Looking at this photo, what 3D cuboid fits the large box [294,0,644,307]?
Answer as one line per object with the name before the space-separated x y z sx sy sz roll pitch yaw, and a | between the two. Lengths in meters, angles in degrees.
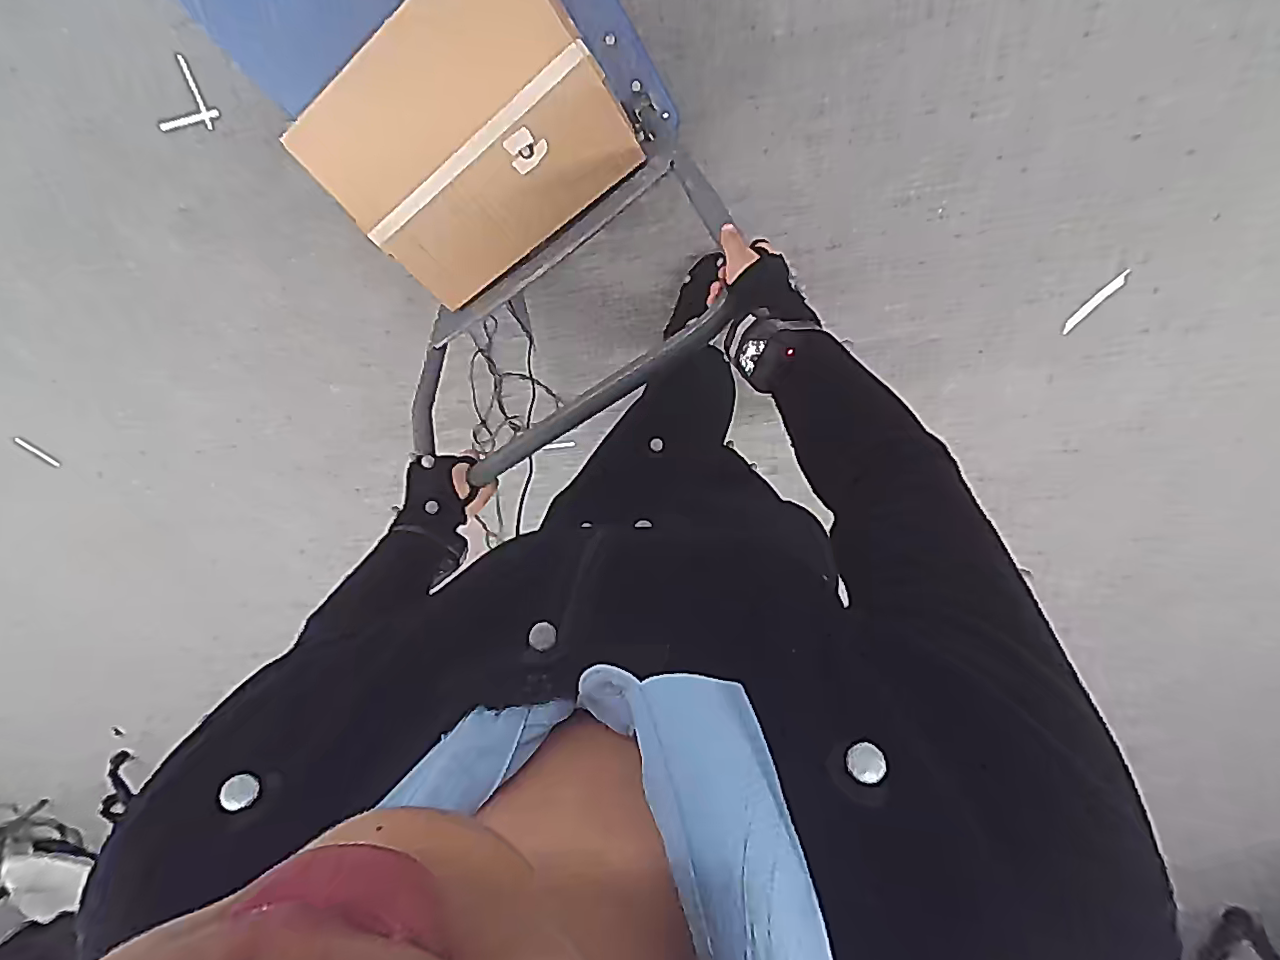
large box | -0.253 -0.572 0.885 0.408 0.320 0.320 -31 129 18
